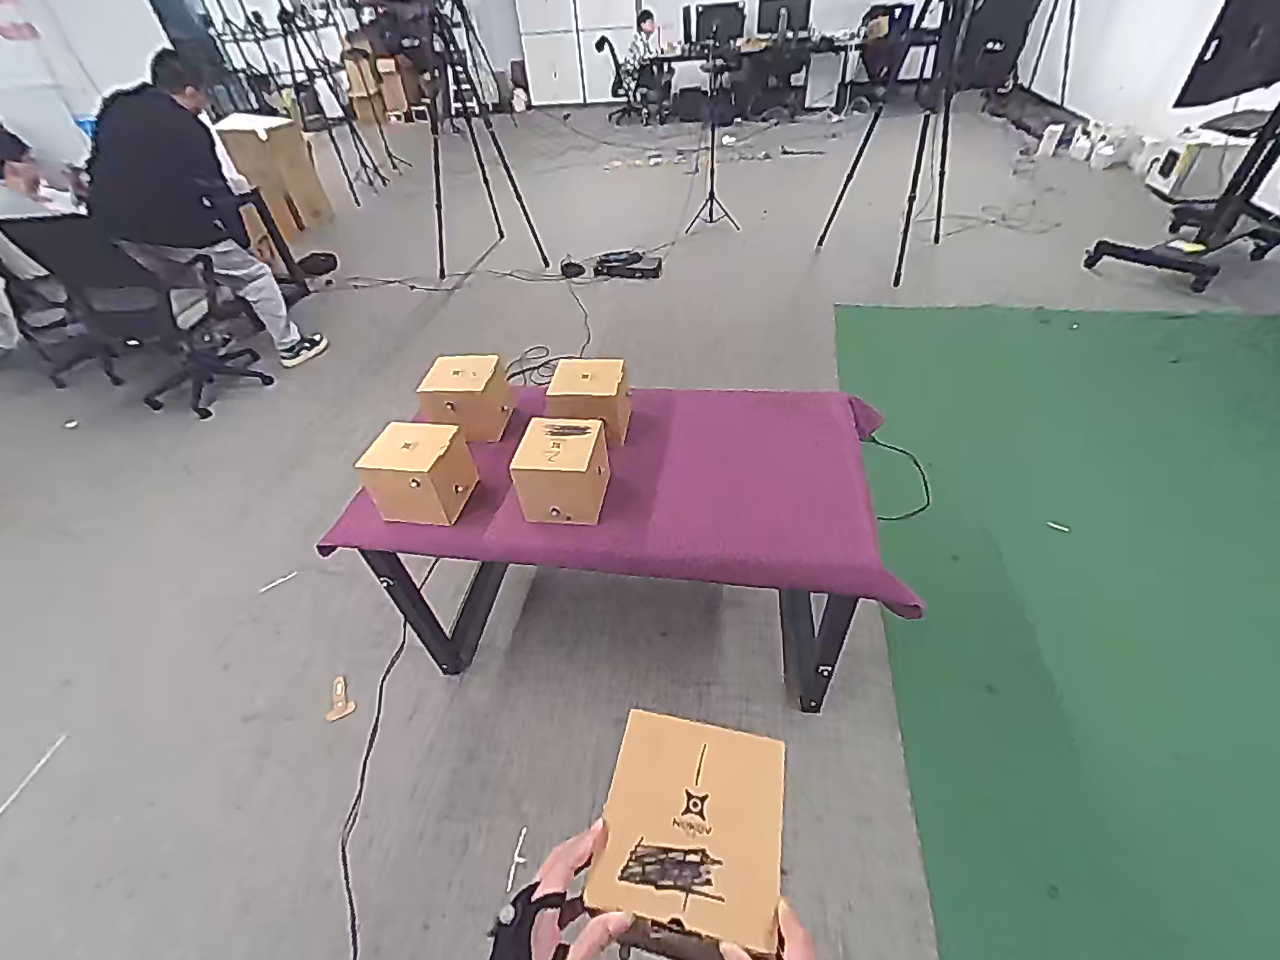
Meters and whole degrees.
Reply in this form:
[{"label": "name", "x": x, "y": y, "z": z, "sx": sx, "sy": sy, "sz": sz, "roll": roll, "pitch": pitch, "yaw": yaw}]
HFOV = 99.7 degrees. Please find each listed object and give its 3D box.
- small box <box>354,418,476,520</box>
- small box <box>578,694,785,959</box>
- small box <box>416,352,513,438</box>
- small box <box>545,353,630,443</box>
[{"label": "small box", "x": -0.503, "y": -0.024, "z": 1.239, "sx": 0.179, "sy": 0.176, "sz": 0.168, "roll": 4, "pitch": 43, "yaw": 9}, {"label": "small box", "x": 0.050, "y": 0.356, "z": 0.553, "sx": 0.168, "sy": 0.176, "sz": 0.179, "roll": 8, "pitch": 42, "yaw": 12}, {"label": "small box", "x": -0.459, "y": -0.226, "z": 1.443, "sx": 0.179, "sy": 0.176, "sz": 0.168, "roll": 1, "pitch": 45, "yaw": 7}, {"label": "small box", "x": -0.125, "y": -0.208, "z": 1.392, "sx": 0.179, "sy": 0.176, "sz": 0.168, "roll": 1, "pitch": 44, "yaw": 9}]
